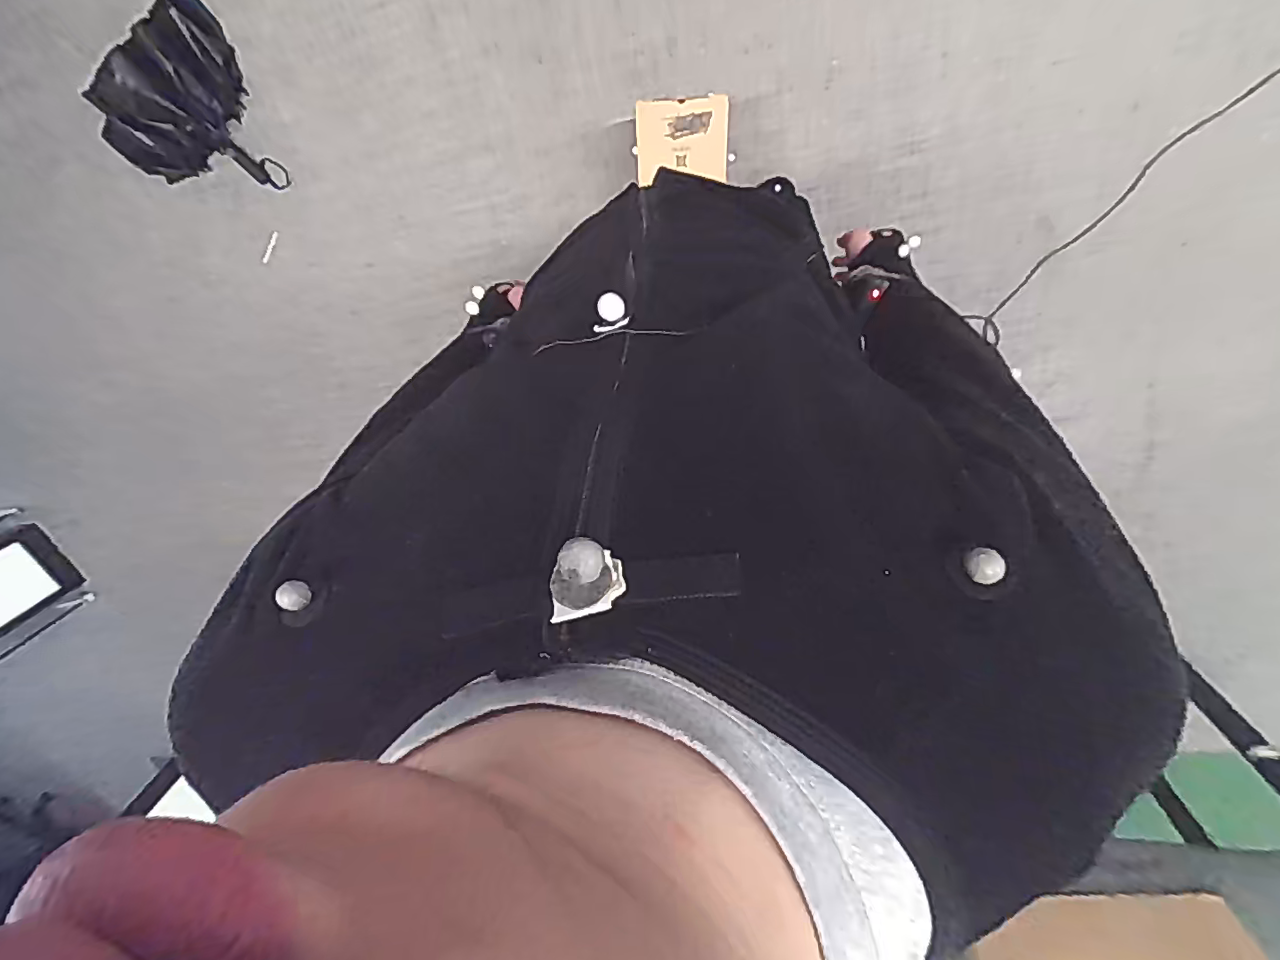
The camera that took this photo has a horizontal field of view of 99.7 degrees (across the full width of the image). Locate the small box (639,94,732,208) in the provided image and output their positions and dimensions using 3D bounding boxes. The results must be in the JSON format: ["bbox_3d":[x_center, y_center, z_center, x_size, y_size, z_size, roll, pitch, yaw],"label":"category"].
[{"bbox_3d":[0.089,-0.635,1.054,0.168,0.176,0.179,2,121,7],"label":"small box"}]
